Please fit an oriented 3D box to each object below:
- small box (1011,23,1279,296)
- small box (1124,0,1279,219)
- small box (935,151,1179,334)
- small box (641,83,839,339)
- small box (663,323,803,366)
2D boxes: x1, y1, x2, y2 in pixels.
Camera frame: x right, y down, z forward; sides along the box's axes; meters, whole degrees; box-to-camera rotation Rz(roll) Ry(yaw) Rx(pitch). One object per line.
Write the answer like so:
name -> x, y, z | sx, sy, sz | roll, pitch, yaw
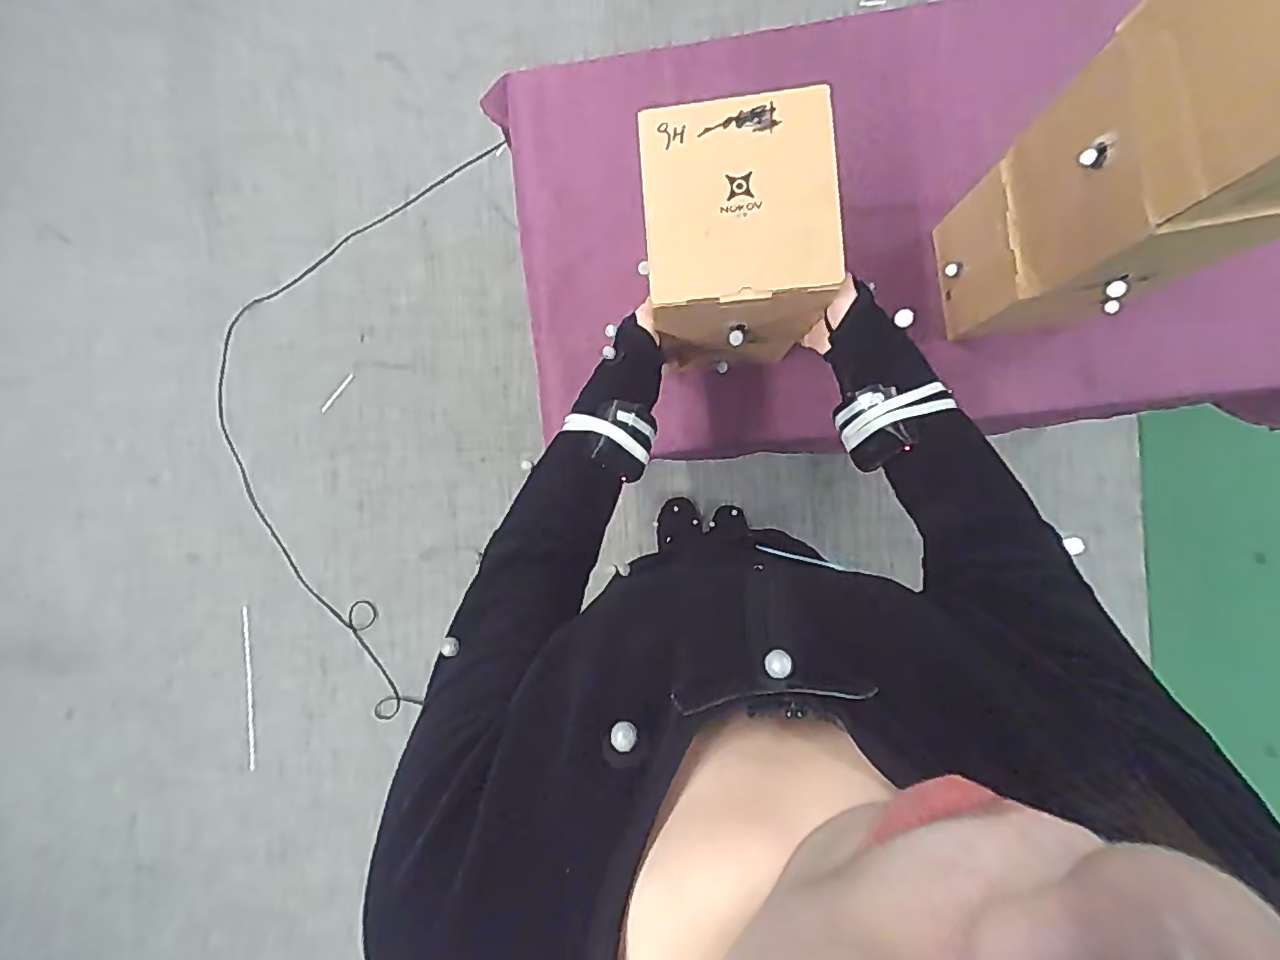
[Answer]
small box -> 0.491, -0.300, 0.517 | 0.168, 0.176, 0.179 | -7, 89, 5
small box -> 0.474, -0.308, 0.355 | 0.168, 0.176, 0.179 | -9, 89, 5
small box -> 0.505, -0.294, 0.679 | 0.179, 0.176, 0.168 | -6, 88, 5
small box -> 0.093, -0.248, 0.546 | 0.168, 0.176, 0.179 | -4, 90, 5
small box -> 0.109, -0.259, 0.711 | 0.168, 0.176, 0.179 | -4, 90, 5
